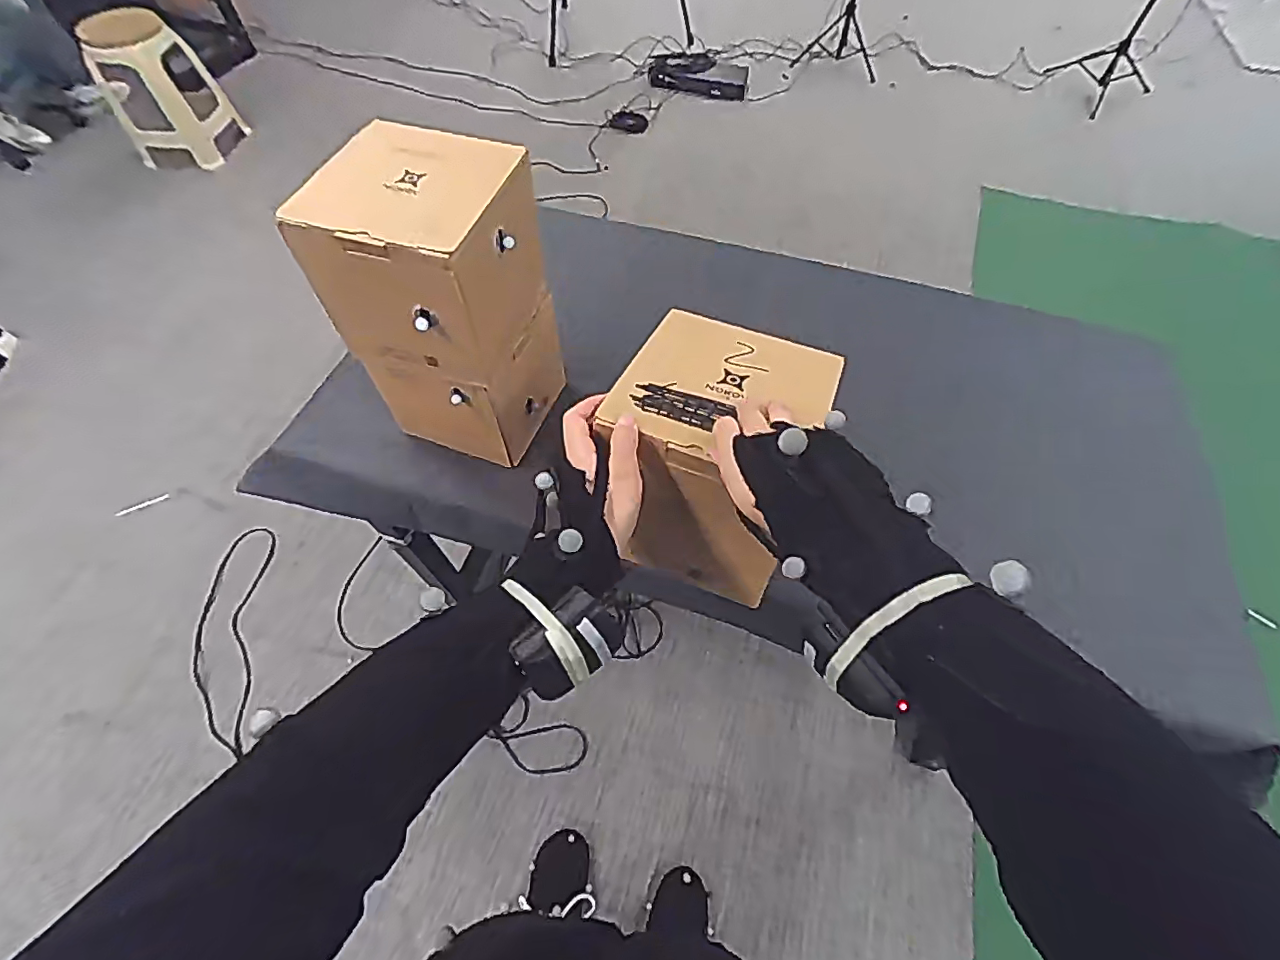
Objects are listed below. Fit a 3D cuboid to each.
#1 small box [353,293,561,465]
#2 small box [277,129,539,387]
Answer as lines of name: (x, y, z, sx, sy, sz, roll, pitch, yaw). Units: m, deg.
small box: (-0.219, -0.143, 0.703, 0.179, 0.176, 0.168, 18, 59, 10)
small box: (-0.213, -0.223, 0.561, 0.168, 0.176, 0.179, 14, 58, 6)
